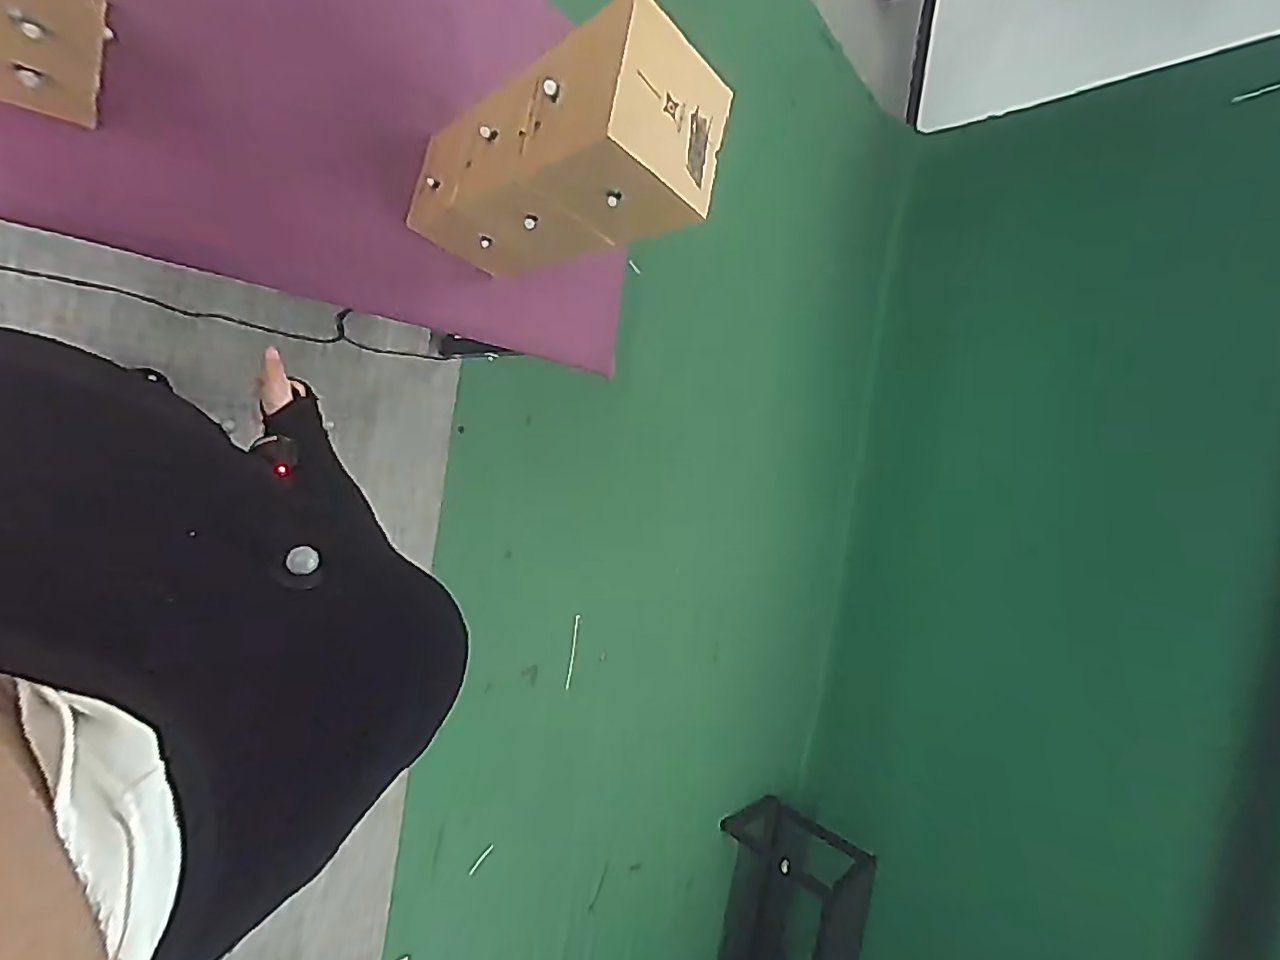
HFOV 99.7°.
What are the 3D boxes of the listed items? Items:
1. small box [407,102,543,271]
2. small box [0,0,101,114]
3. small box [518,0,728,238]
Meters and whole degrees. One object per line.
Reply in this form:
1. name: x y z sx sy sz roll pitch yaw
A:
1. small box: -0.257 -0.467 0.898 0.179 0.176 0.168 20 84 -47
2. small box: -0.632 -0.477 0.503 0.179 0.176 0.168 -3 101 -45
3. small box: -0.021 -0.424 0.674 0.179 0.176 0.168 14 88 -46
